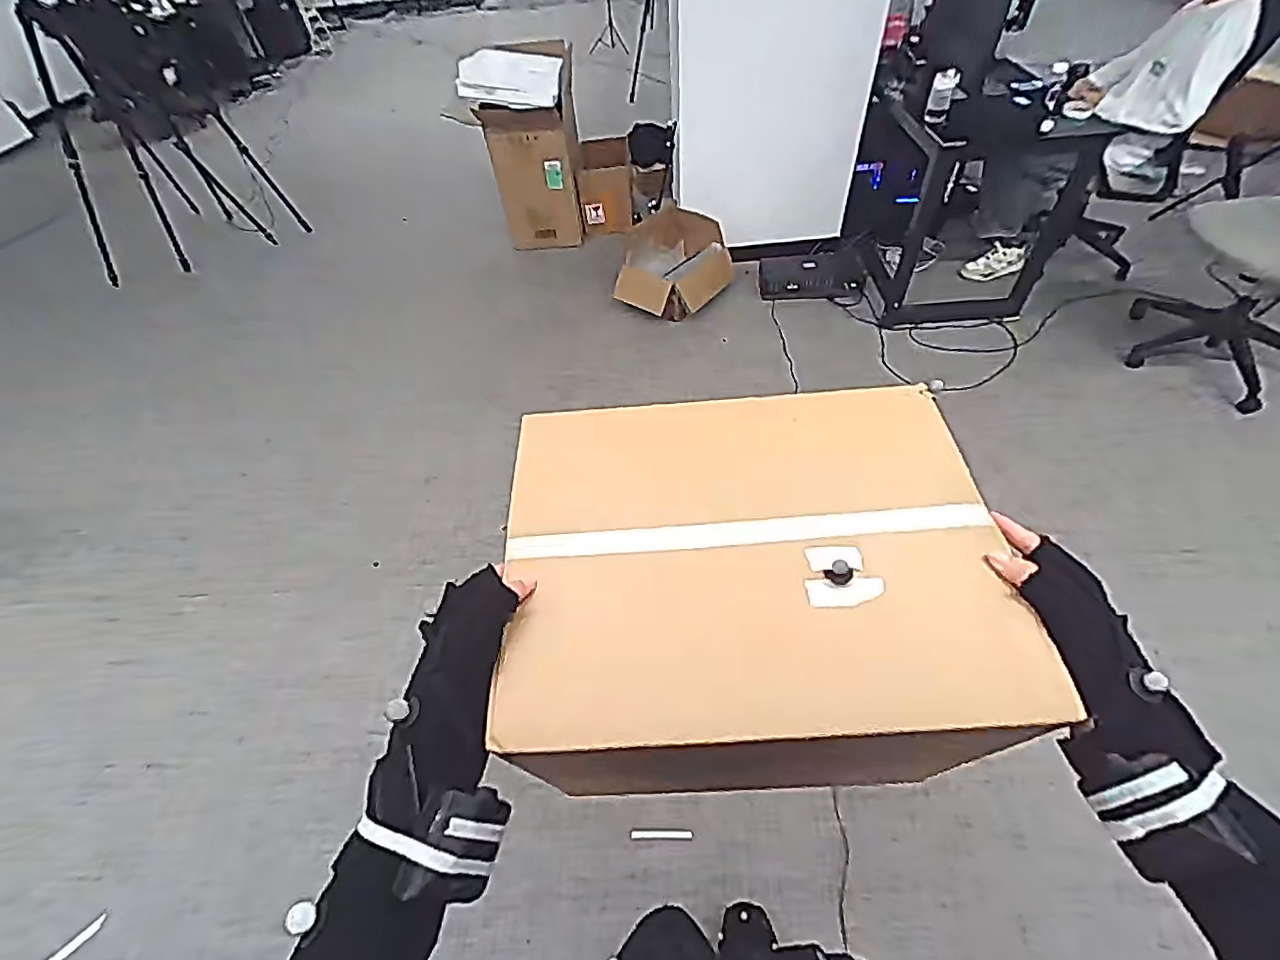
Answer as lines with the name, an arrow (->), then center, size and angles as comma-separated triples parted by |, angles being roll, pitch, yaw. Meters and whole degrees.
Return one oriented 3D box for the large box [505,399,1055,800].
large box -> 0.099, 0.143, 0.592 | 0.408, 0.320, 0.320 | -4, 54, 2
